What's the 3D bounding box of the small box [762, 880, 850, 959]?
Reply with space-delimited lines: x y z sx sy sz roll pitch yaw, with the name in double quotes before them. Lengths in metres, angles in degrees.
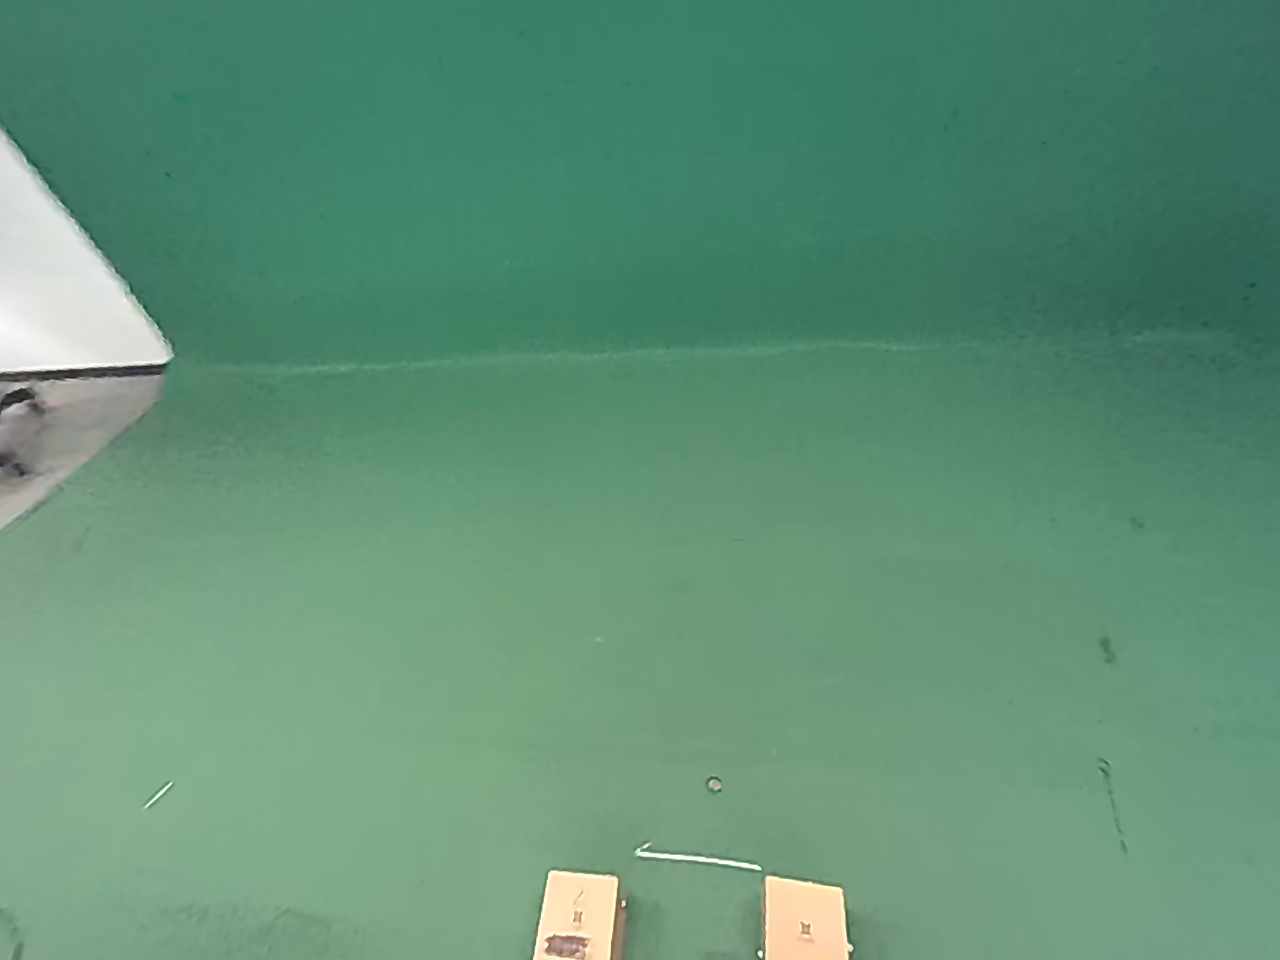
"small box" 0.354 1.002 1.172 0.168 0.176 0.179 3 46 11
